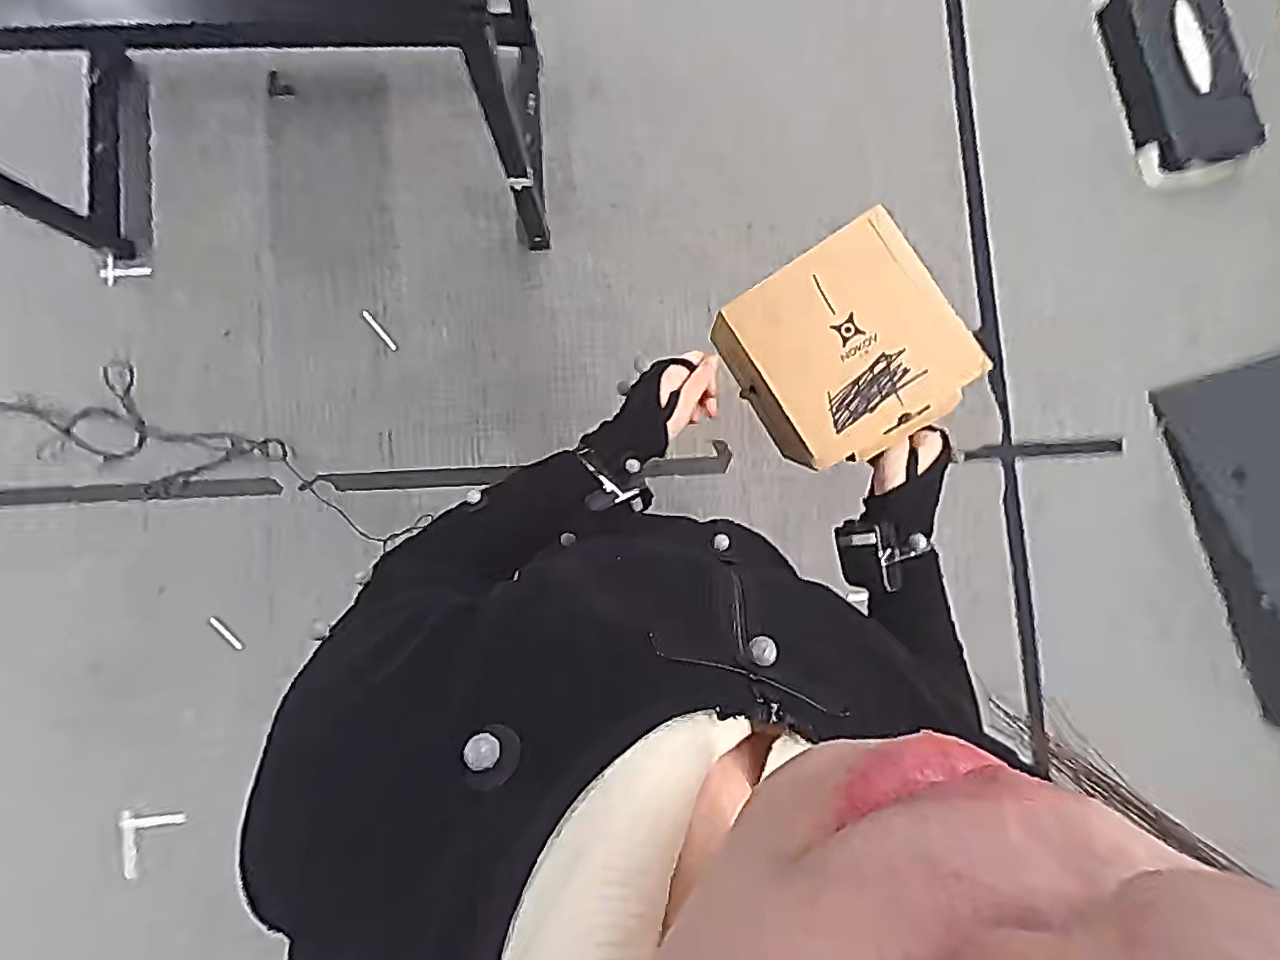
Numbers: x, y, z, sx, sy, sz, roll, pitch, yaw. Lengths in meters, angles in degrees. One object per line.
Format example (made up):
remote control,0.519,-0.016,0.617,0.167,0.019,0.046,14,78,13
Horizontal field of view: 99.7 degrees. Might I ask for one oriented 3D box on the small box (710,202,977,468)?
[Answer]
small box,0.186,-0.133,0.551,0.168,0.176,0.179,-33,93,7
